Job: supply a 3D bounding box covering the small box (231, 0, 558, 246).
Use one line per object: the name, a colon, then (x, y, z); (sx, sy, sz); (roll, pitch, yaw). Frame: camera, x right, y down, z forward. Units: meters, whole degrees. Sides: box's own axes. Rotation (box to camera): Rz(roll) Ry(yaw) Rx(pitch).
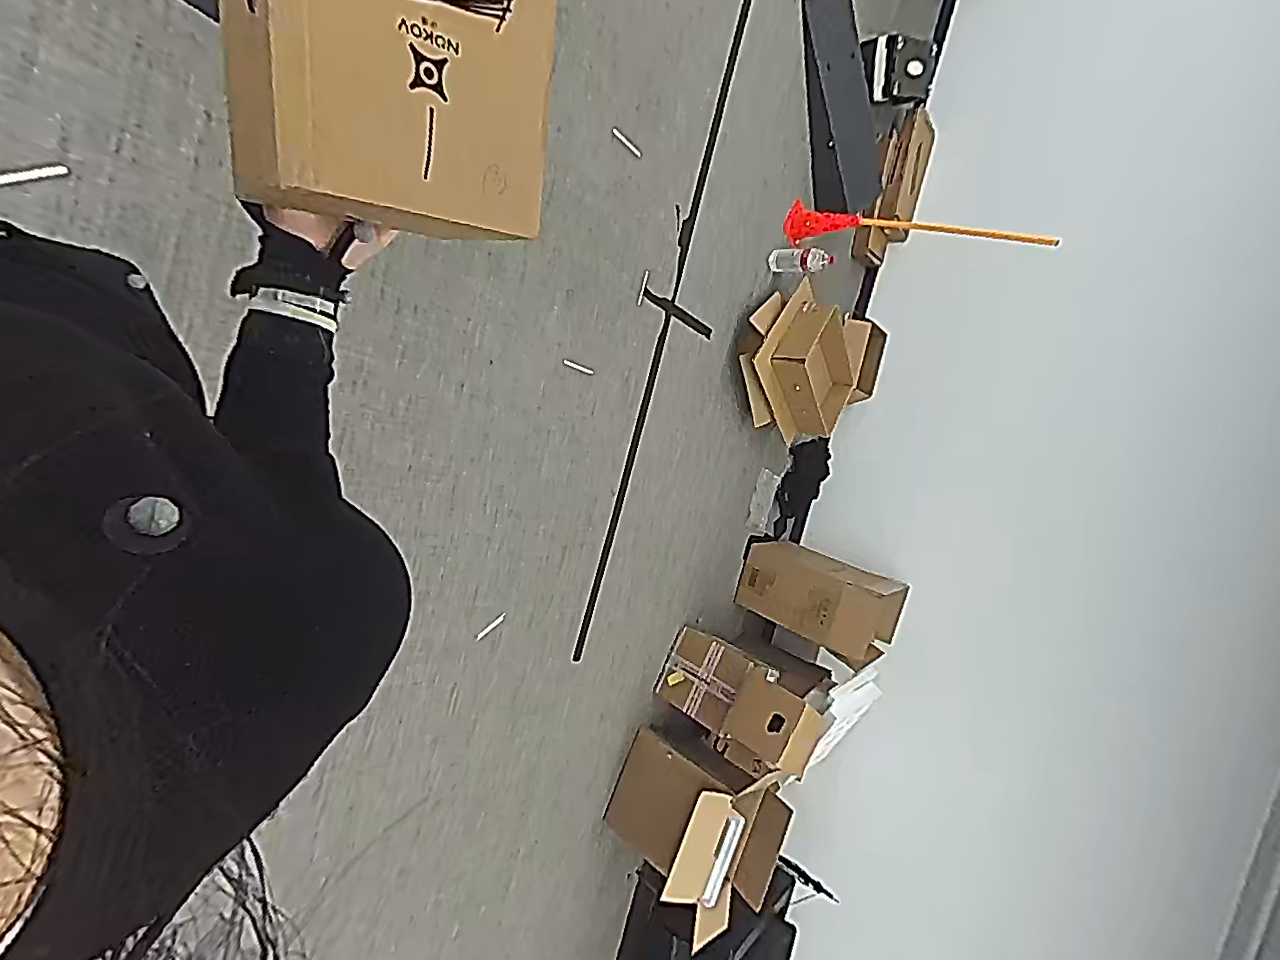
small box: (-0.177, -0.276, 0.387); (0.168, 0.176, 0.179); (-9, 114, -41)
